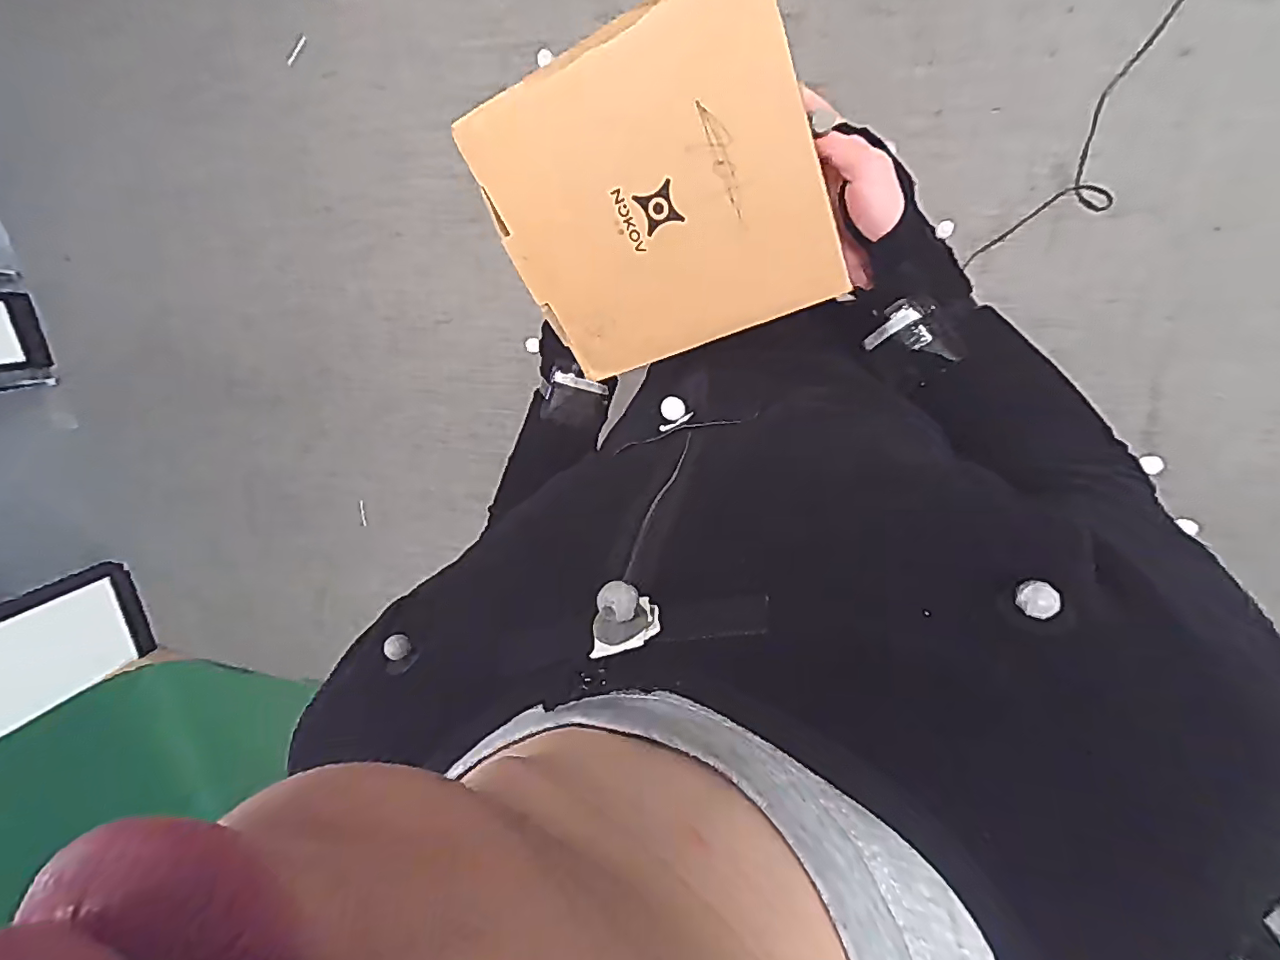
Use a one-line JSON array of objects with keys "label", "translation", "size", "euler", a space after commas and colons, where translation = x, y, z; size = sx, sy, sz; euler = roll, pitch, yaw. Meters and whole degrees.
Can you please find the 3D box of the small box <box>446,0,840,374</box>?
[{"label": "small box", "translation": [0.018, -0.201, 0.358], "size": [0.179, 0.176, 0.168], "euler": [-16, 123, 24]}]
